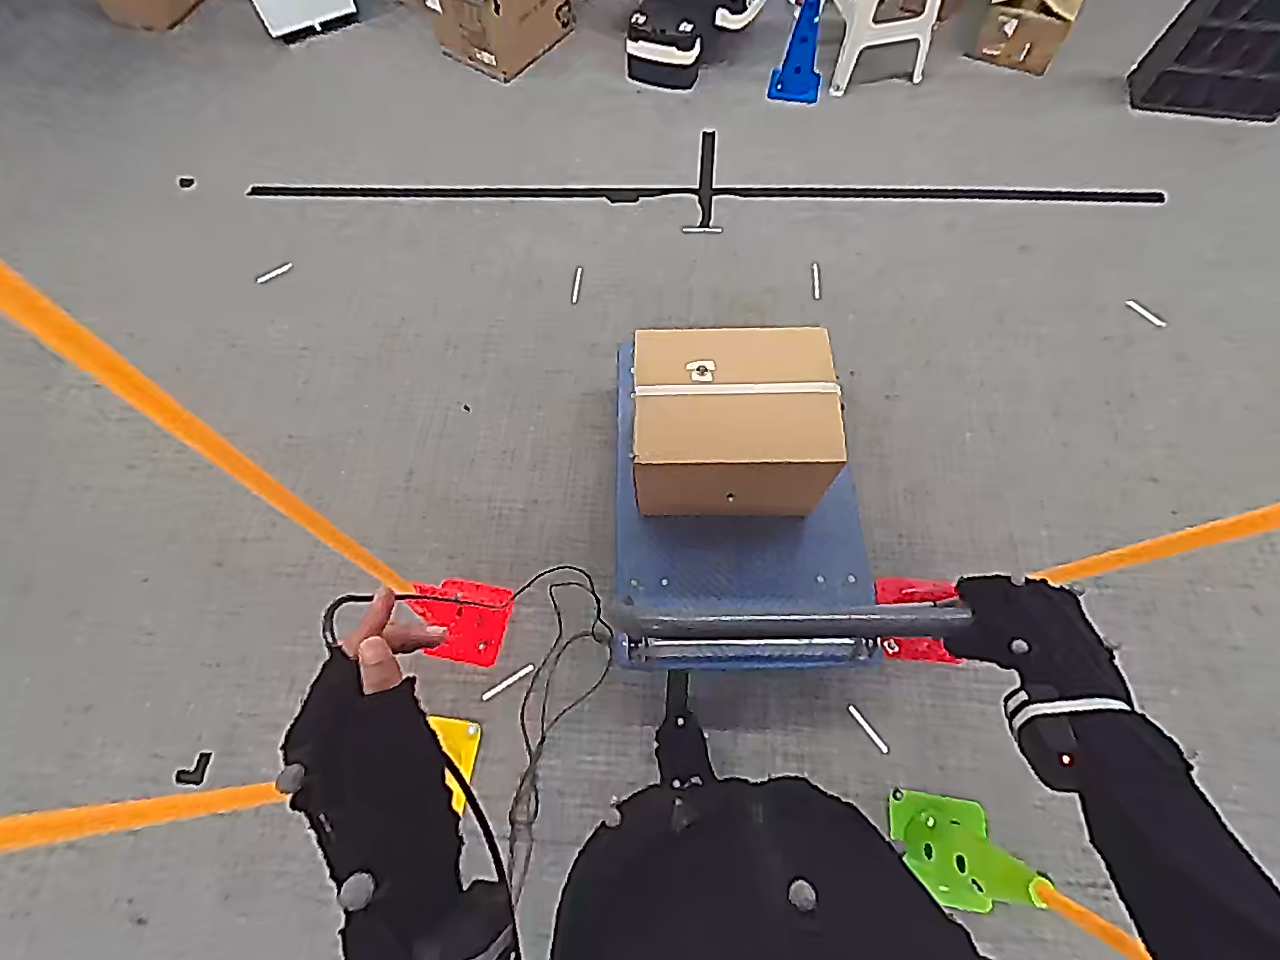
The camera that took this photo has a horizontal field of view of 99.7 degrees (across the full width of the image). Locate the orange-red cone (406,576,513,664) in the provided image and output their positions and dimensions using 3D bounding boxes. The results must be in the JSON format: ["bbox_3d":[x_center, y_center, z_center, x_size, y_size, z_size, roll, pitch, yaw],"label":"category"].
[{"bbox_3d":[-0.444,0.285,1.233,0.198,0.360,0.199,11,66,6],"label":"orange-red cone"}]

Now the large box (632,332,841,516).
[{"bbox_3d":[0.192,-0.110,1.221,0.408,0.320,0.320,-1,67,3],"label":"large box"}]

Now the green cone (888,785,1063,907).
[{"bbox_3d":[0.630,0.708,0.997,0.202,0.368,0.200,7,67,4],"label":"green cone"}]

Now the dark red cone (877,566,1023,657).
[{"bbox_3d":[0.688,0.259,1.174,0.201,0.394,0.202,4,67,2],"label":"dark red cone"}]
